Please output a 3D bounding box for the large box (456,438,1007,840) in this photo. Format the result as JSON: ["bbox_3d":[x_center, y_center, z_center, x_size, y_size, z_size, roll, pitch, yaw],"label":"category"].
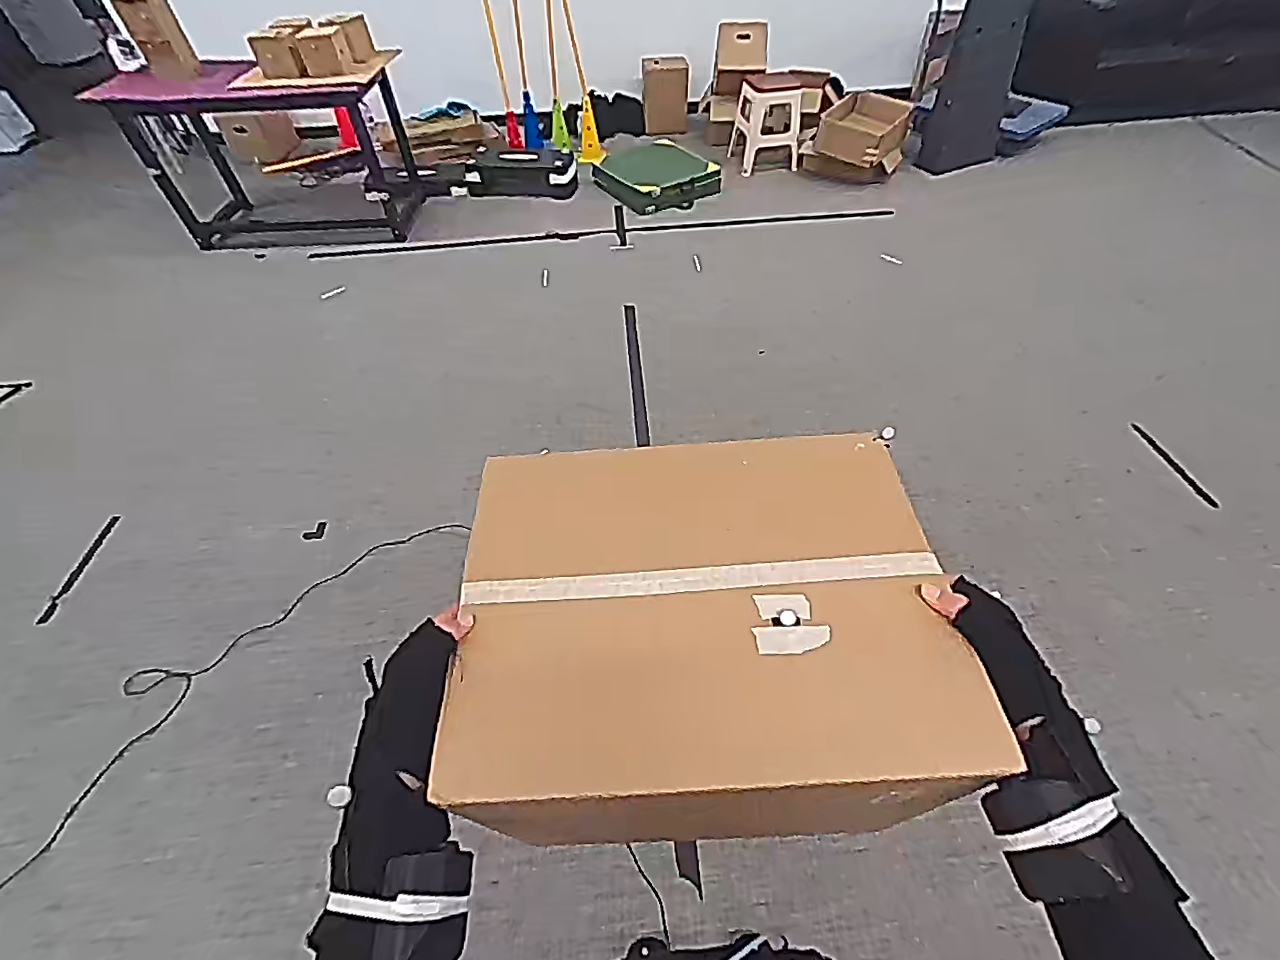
[{"bbox_3d":[0.063,0.182,0.589,0.408,0.320,0.320,-4,52,1],"label":"large box"}]
